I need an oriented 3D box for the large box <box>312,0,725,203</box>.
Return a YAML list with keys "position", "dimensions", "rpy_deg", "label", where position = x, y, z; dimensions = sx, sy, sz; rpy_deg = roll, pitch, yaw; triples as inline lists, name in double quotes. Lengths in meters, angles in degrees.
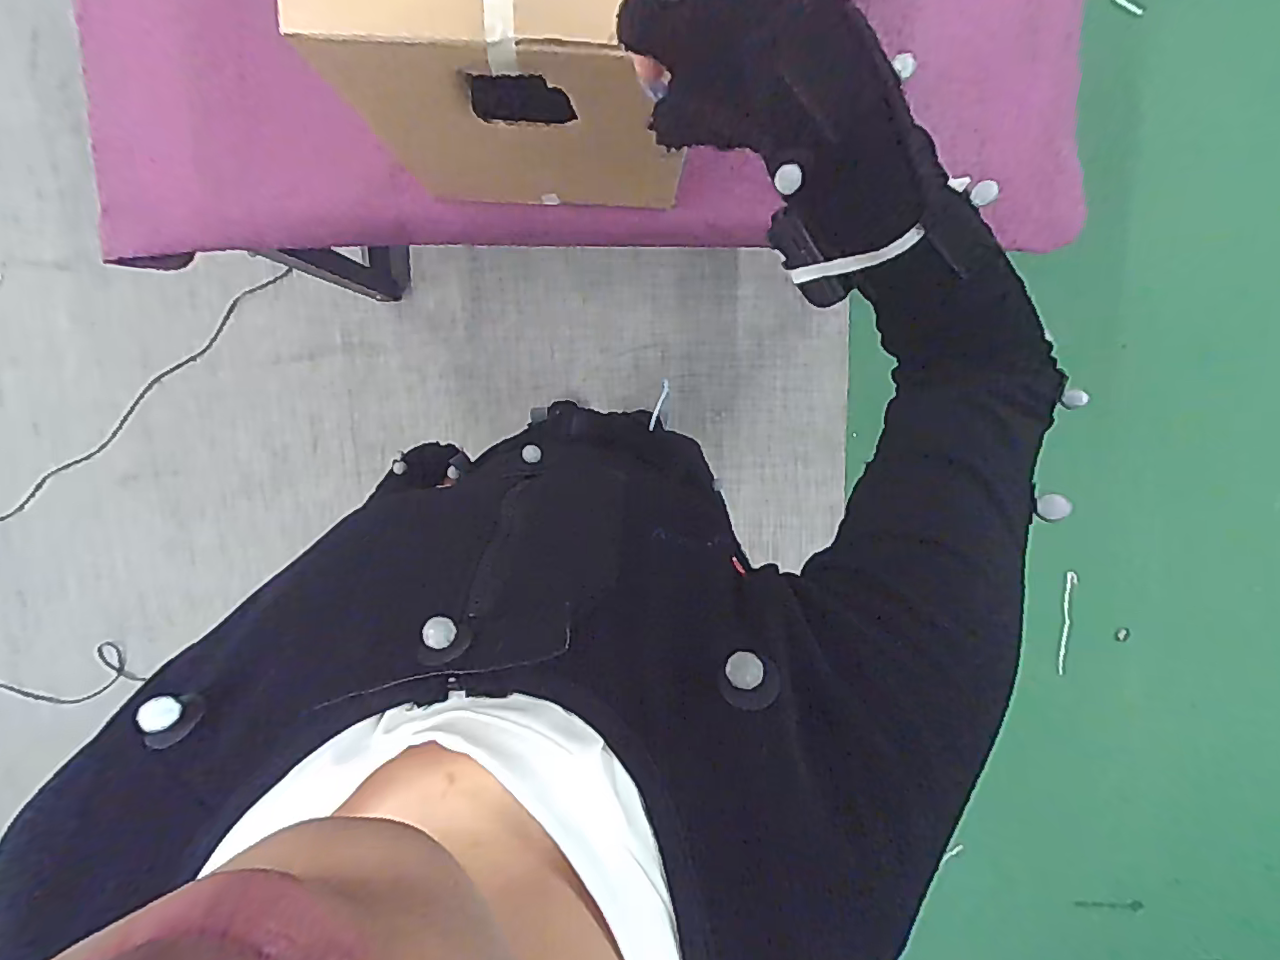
- position: [-0.094, -0.540, 0.525]
  dimensions: [0.320, 0.320, 0.408]
  rpy_deg: [2, 99, -2]
  label: "large box"
